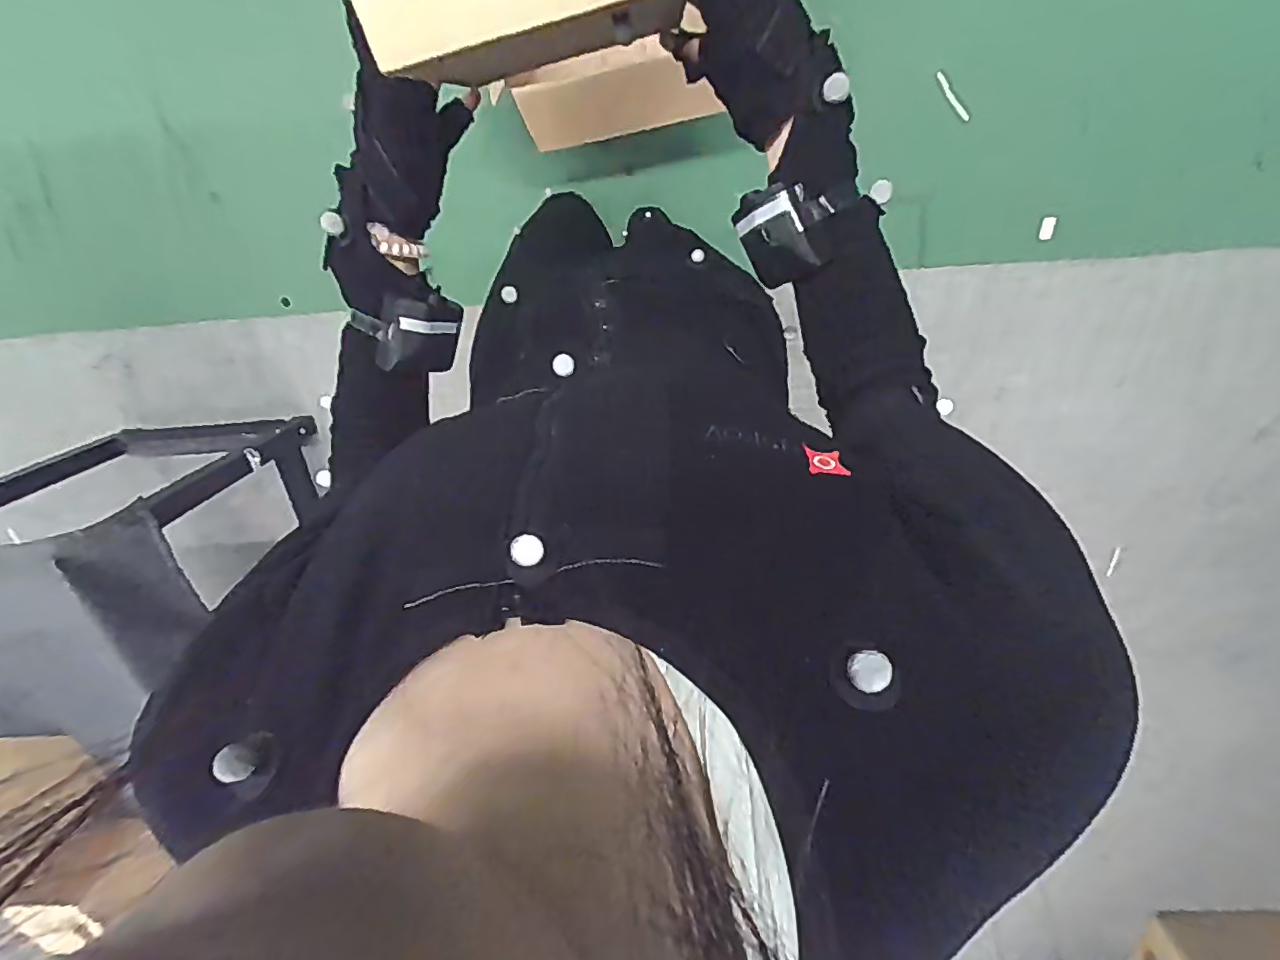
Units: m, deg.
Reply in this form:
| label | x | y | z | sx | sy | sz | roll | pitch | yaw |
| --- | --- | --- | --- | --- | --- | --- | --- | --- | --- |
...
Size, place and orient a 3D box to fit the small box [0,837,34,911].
| label | x | y | z | sx | sy | sz | roll | pitch | yaw |
| --- | --- | --- | --- | --- | --- | --- | --- | --- | --- |
| small box | -1.187 | 0.689 | 0.882 | 0.179 | 0.176 | 0.168 | -6 | 116 | 5 |

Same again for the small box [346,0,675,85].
| label | x | y | z | sx | sy | sz | roll | pitch | yaw |
| --- | --- | --- | --- | --- | --- | --- | --- | --- | --- |
| small box | -0.076 | -0.346 | 0.305 | 0.179 | 0.176 | 0.168 | -11 | 122 | 8 |

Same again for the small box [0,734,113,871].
| label | x | y | z | sx | sy | sz | roll | pitch | yaw |
| --- | --- | --- | --- | --- | --- | --- | --- | --- | --- |
| small box | -1.167 | 0.605 | 1.022 | 0.179 | 0.176 | 0.168 | -4 | 115 | 5 |
